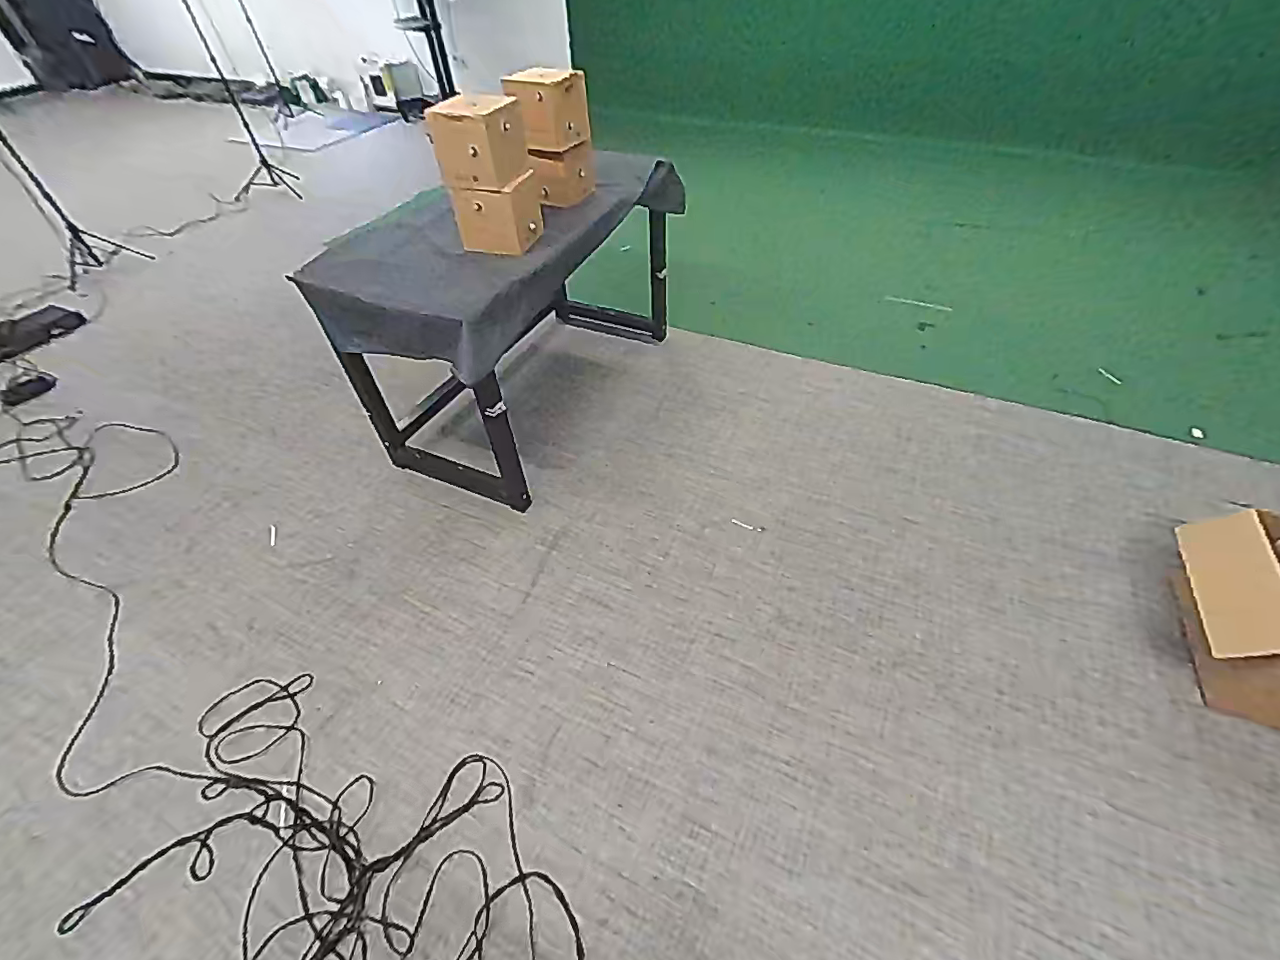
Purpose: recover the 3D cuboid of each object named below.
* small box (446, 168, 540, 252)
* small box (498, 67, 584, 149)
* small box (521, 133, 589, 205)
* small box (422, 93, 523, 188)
[{"bbox_3d":[-0.396,-0.745,1.487,0.179,0.176,0.168,11,48,11],"label":"small box"},{"bbox_3d":[-0.282,-1.085,1.578,0.179,0.176,0.168,21,51,21],"label":"small box"},{"bbox_3d":[-0.277,-0.994,1.716,0.179,0.176,0.168,19,51,18],"label":"small box"},{"bbox_3d":[-0.414,-0.862,1.375,0.168,0.176,0.179,14,48,13],"label":"small box"}]
